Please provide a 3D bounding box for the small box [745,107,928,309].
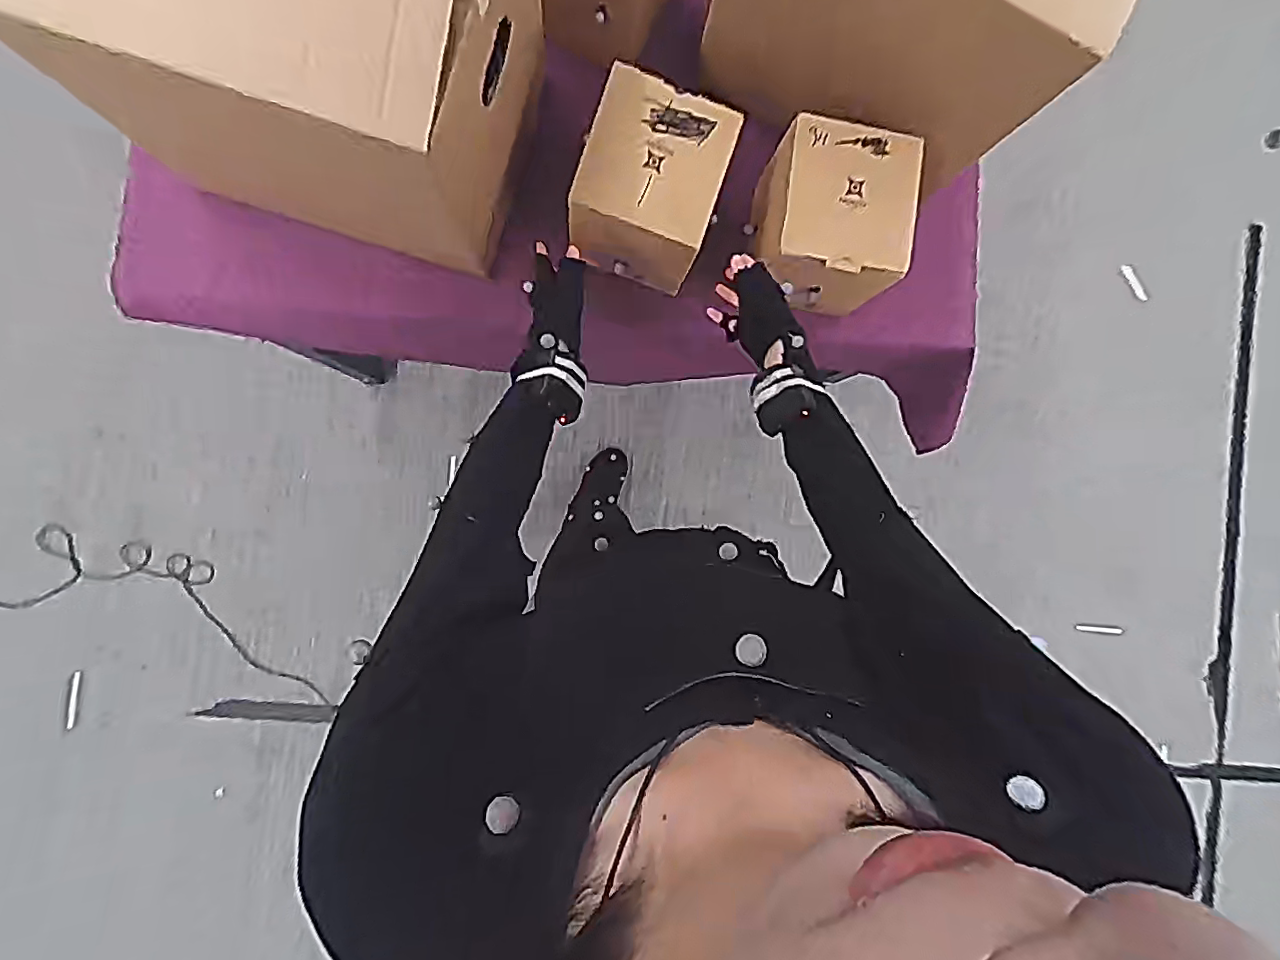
[{"bbox_3d":[0.251,-0.347,0.729,0.168,0.176,0.179,8,89,-7],"label":"small box"}]
